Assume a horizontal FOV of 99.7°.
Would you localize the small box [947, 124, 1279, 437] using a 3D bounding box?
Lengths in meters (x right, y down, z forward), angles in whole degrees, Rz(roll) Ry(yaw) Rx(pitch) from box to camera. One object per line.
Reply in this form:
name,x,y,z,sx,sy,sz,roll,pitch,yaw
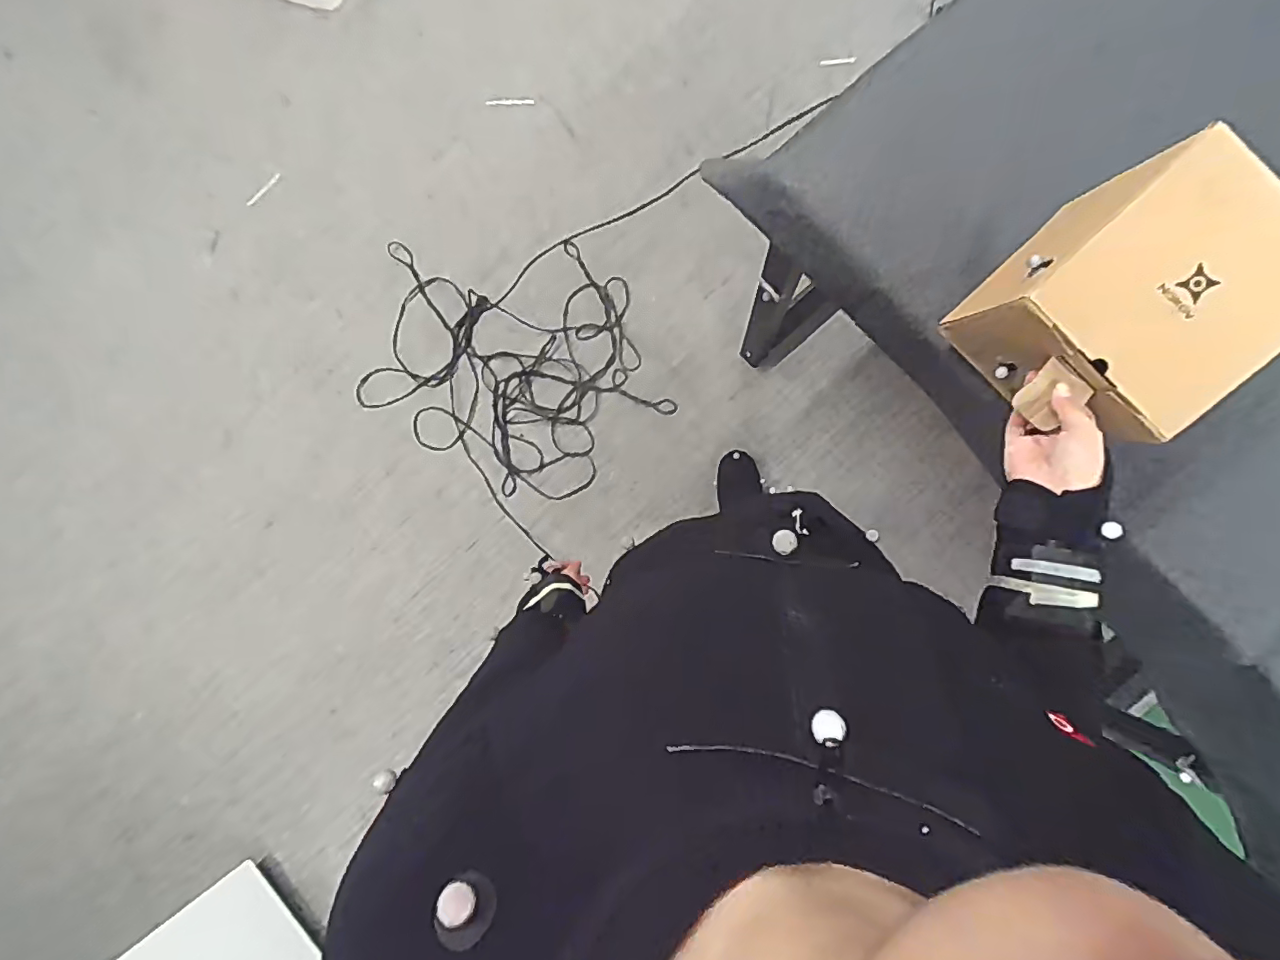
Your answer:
small box,0.432,-0.161,0.495,0.168,0.176,0.179,45,100,-1
